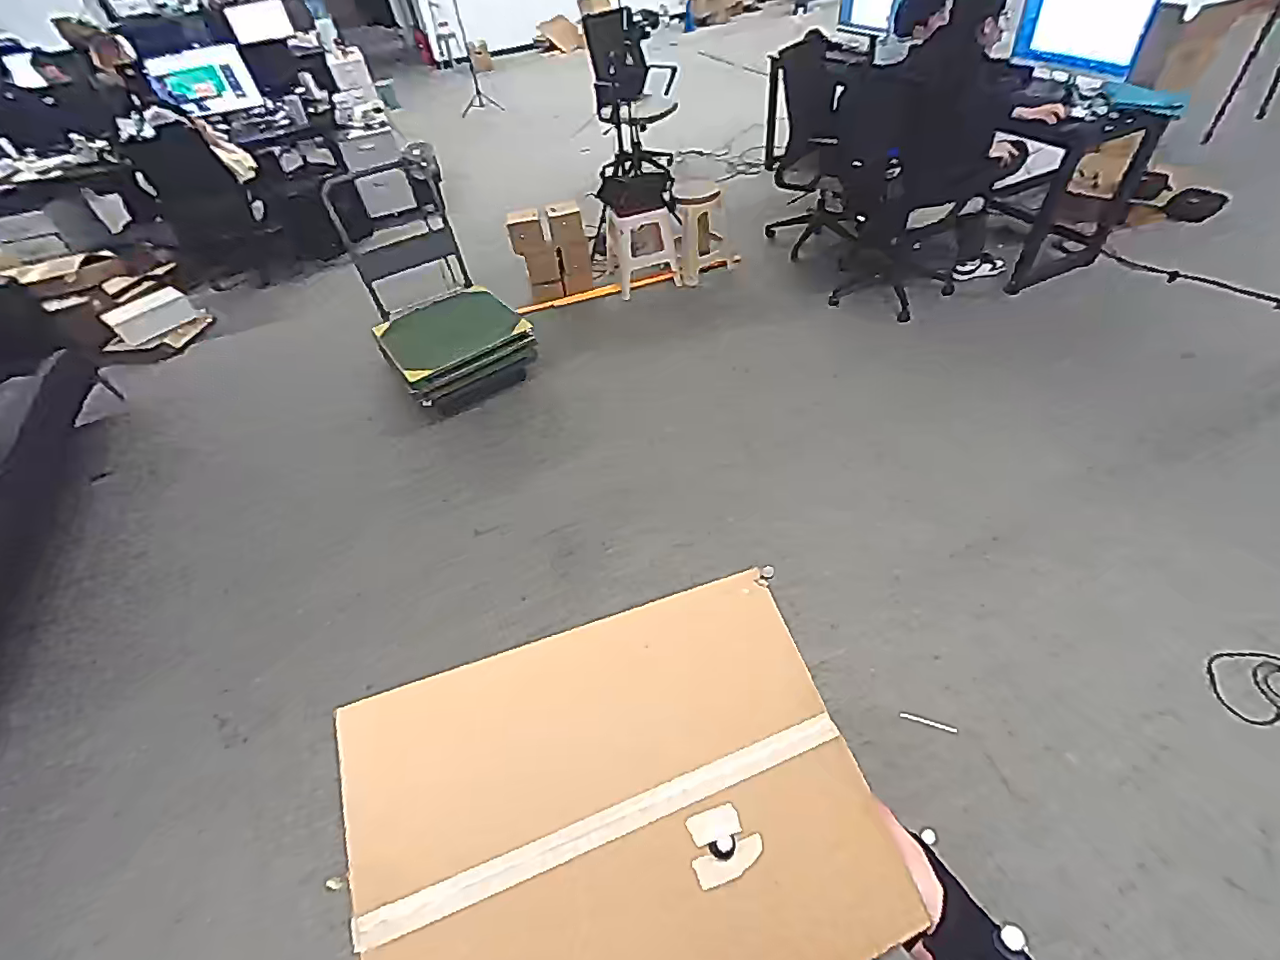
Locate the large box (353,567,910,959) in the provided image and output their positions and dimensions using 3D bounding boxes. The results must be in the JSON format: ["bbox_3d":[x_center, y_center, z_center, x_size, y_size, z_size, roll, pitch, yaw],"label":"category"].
[{"bbox_3d":[-0.029,0.343,0.582,0.408,0.320,0.320,-15,65,-15],"label":"large box"}]
